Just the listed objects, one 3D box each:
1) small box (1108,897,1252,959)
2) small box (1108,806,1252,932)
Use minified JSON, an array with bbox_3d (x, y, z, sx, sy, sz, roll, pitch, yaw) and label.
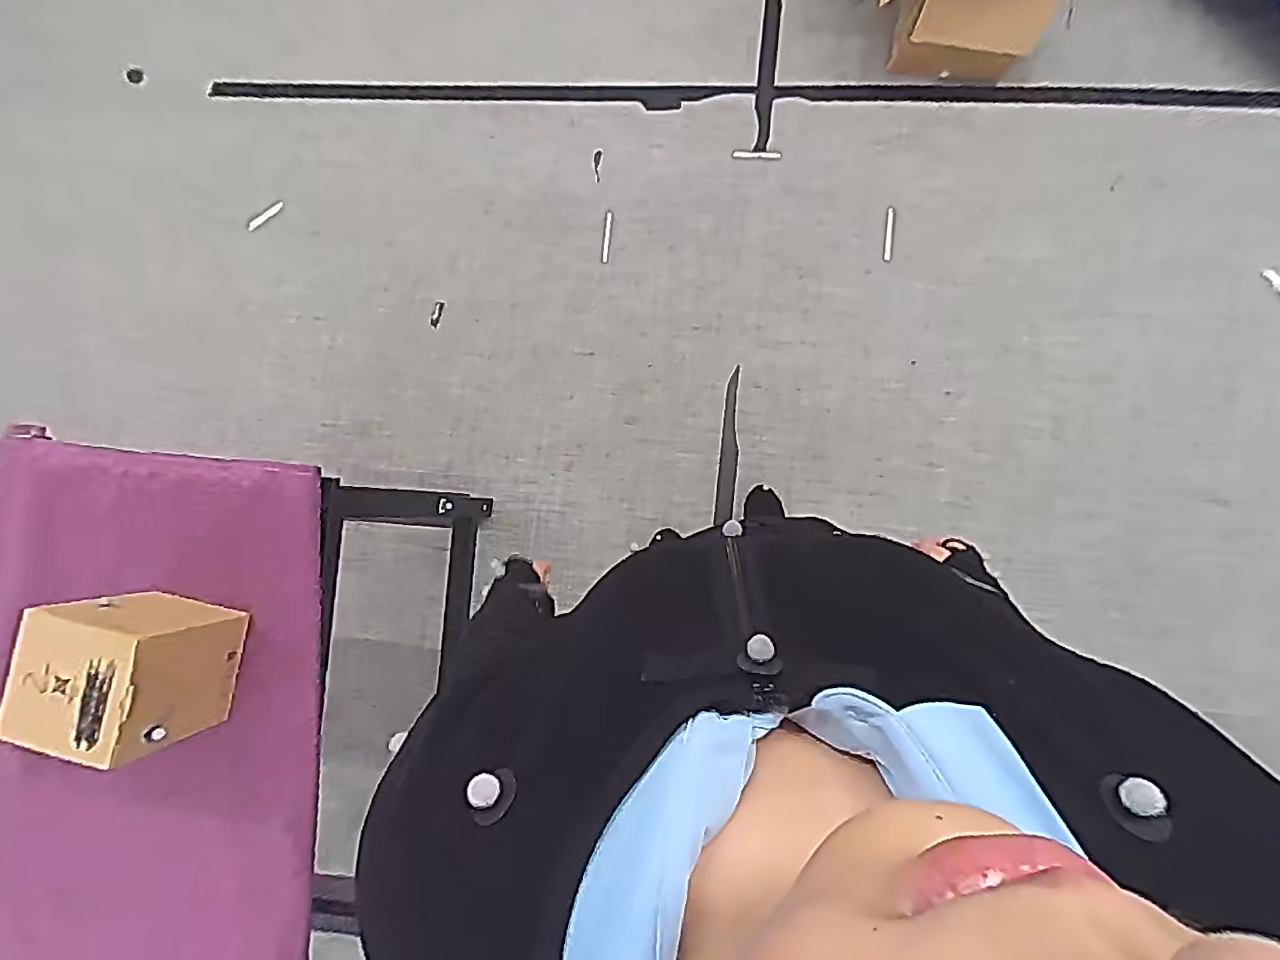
[{"bbox_3d":[1.223,1.093,1.222,0.179,0.176,0.168,9,86,6],"label":"small box"},{"bbox_3d":[1.220,0.875,1.235,0.179,0.176,0.168,2,88,5],"label":"small box"}]
